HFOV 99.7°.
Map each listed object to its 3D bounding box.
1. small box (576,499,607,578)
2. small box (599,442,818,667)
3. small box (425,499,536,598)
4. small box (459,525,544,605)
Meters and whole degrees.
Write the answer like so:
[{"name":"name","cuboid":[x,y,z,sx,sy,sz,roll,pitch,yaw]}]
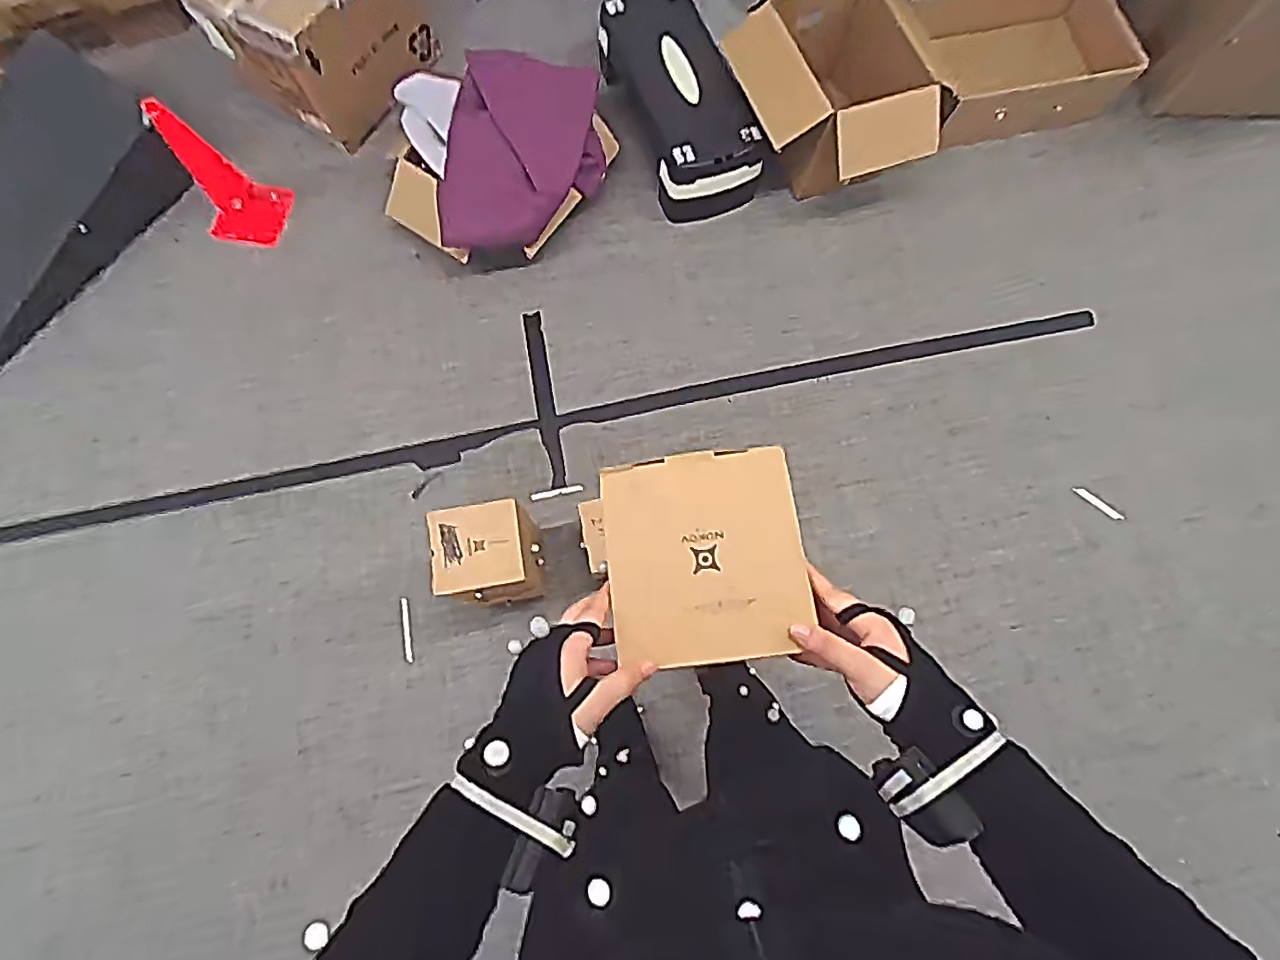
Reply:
[{"name":"small box","cuboid":[-0.048,0.133,1.295,0.179,0.176,0.168,-12,76,-4]},{"name":"small box","cuboid":[0.055,0.079,0.524,0.168,0.176,0.179,-7,75,2]},{"name":"small box","cuboid":[-0.323,0.147,1.114,0.179,0.176,0.168,-9,76,-4]},{"name":"small box","cuboid":[-0.327,0.195,1.273,0.168,0.176,0.179,-9,77,-3]}]
